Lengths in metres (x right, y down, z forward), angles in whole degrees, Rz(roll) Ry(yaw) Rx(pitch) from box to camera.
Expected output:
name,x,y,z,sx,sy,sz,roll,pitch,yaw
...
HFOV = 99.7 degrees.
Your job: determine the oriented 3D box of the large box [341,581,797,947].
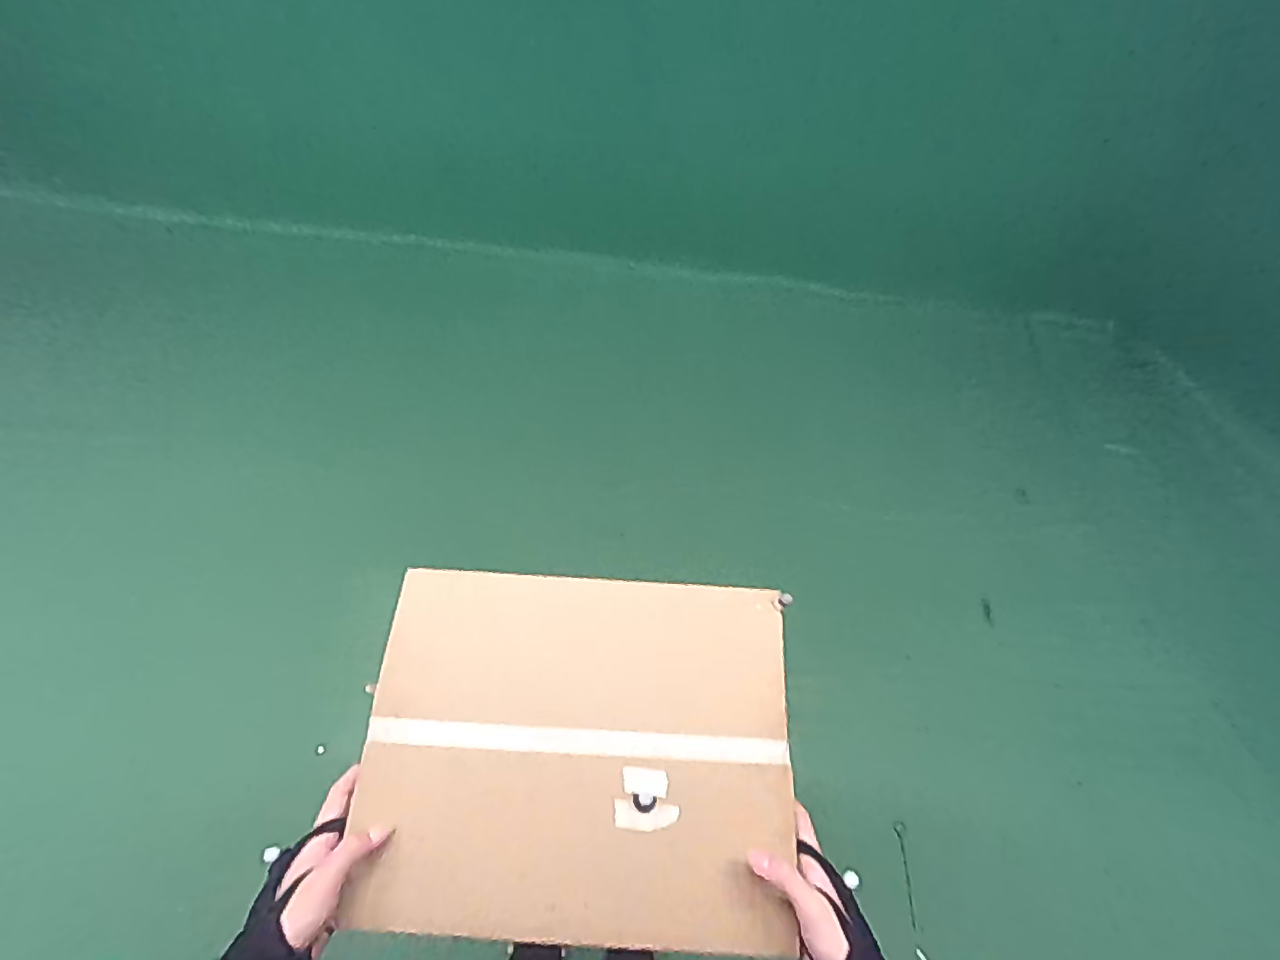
name,x,y,z,sx,sy,sz,roll,pitch,yaw
large box,-0.062,0.320,0.661,0.408,0.320,0.320,3,66,-1
